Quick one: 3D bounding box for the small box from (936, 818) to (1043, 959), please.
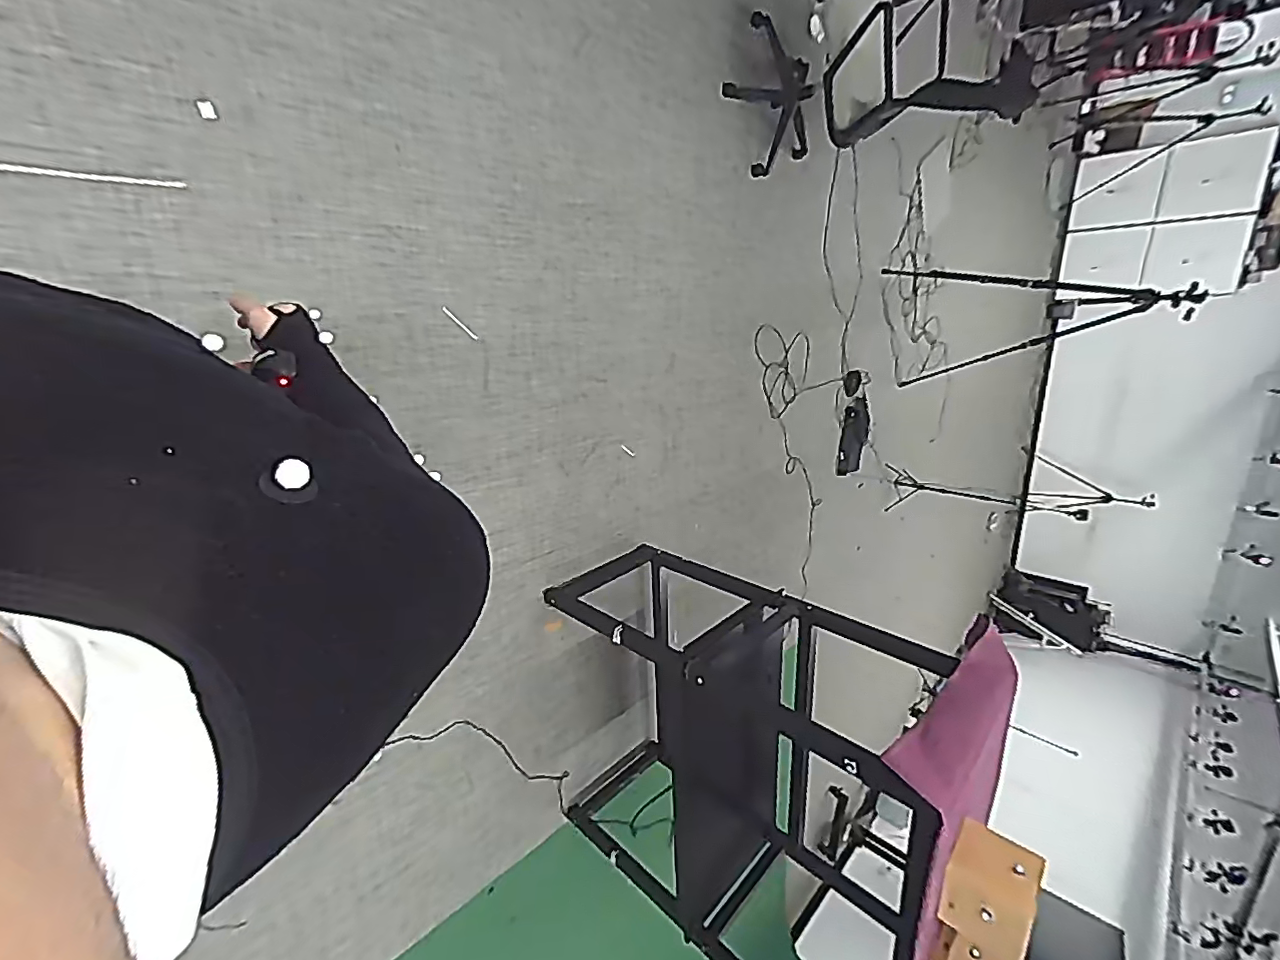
[{"bbox_3d":[0.805,0.943,1.252,0.179,0.176,0.168,-19,114,-43],"label":"small box"}]

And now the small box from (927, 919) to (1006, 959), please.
[{"bbox_3d":[0.814,1.239,1.338,0.168,0.176,0.179,-18,113,-43],"label":"small box"}]
